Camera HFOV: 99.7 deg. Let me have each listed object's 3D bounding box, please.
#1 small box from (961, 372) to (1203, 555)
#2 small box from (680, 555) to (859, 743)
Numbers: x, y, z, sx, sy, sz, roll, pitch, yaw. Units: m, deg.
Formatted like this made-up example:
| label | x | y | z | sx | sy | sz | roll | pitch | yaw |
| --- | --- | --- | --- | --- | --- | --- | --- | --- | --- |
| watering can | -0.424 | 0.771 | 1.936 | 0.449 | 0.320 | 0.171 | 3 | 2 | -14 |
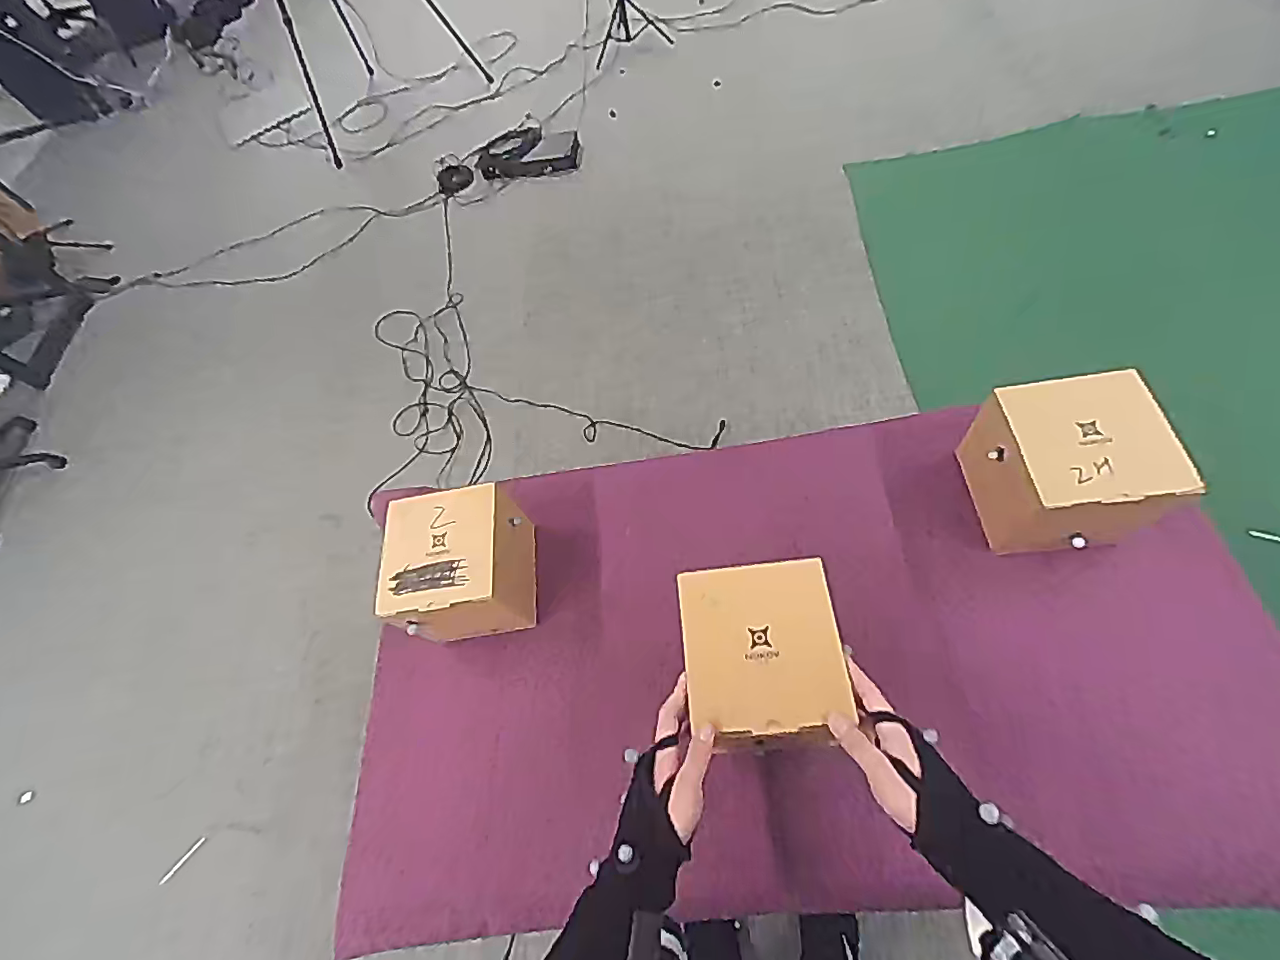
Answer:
| label | x | y | z | sx | sy | sz | roll | pitch | yaw |
| --- | --- | --- | --- | --- | --- | --- | --- | --- | --- |
| small box | 0.558 | -0.015 | 0.719 | 0.168 | 0.176 | 0.179 | -7 | 62 | 10 |
| small box | 0.139 | 0.206 | 0.641 | 0.168 | 0.176 | 0.179 | -7 | 60 | 6 |
